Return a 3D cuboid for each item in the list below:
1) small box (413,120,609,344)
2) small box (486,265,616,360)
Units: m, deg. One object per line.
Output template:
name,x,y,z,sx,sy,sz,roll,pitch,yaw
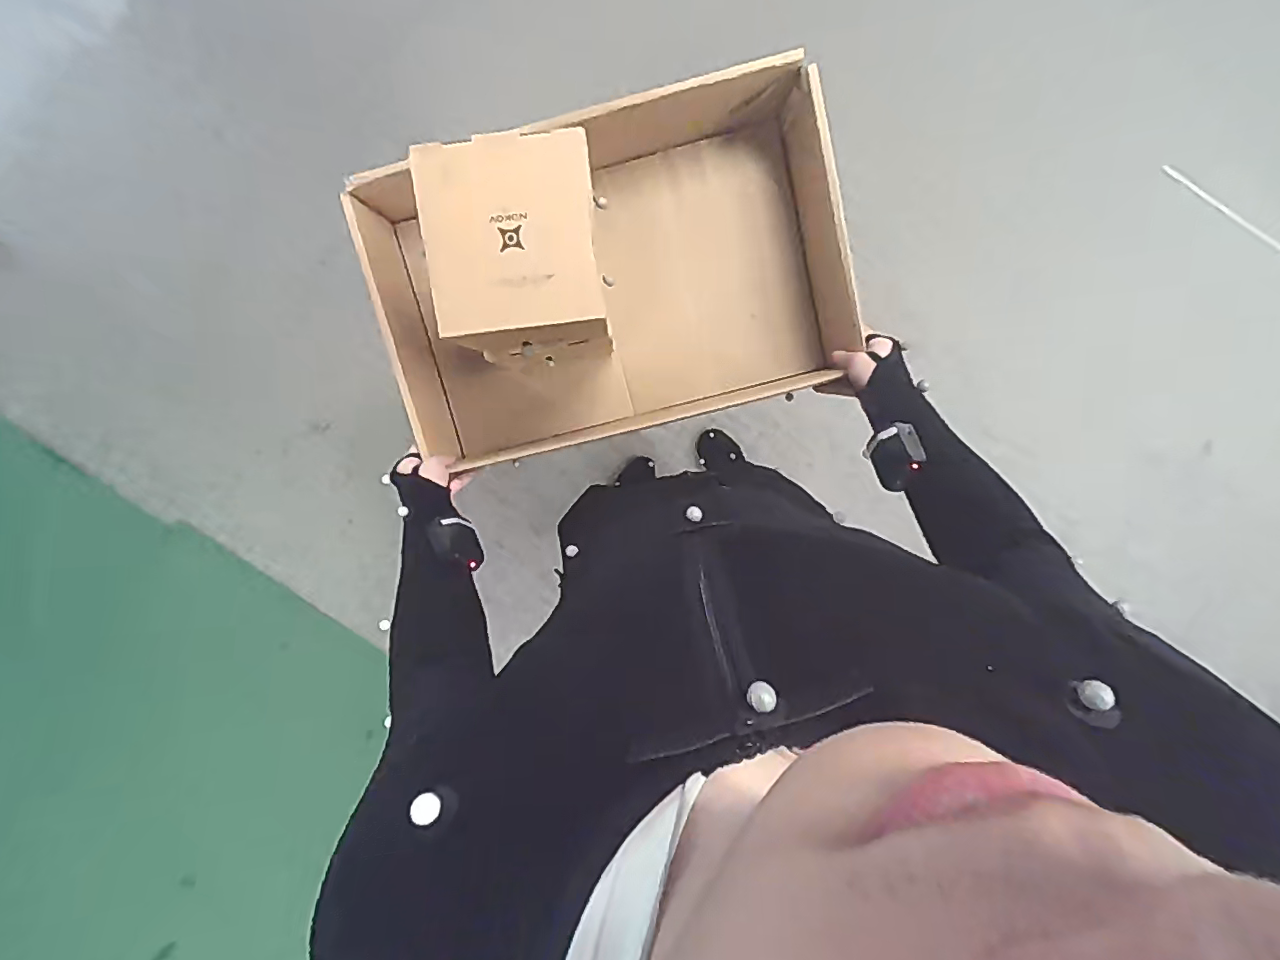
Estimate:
small box,-0.123,-0.250,0.584,0.168,0.176,0.179,-6,99,-1
small box,-0.129,-0.269,0.747,0.168,0.176,0.179,-10,100,-2
